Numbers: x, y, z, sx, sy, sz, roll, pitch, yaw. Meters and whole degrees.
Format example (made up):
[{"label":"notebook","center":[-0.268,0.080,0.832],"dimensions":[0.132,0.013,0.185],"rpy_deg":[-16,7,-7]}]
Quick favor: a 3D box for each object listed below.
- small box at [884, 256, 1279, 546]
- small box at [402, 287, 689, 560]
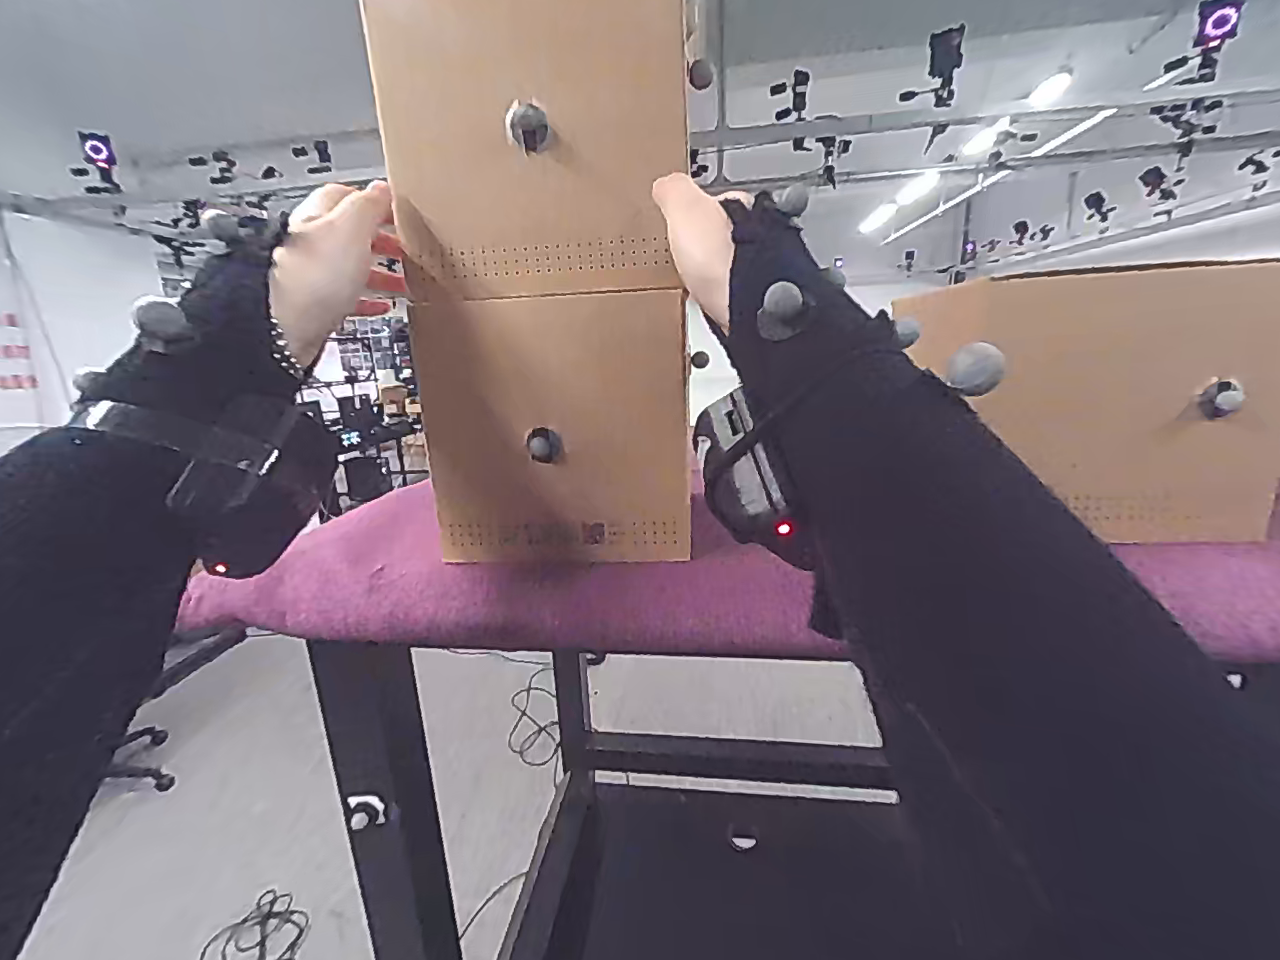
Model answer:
[{"label":"small box","center":[0.294,-0.057,0.394],"dimensions":[0.179,0.176,0.168],"rpy_deg":[-3,14,7]},{"label":"small box","center":[-0.048,-0.046,0.409],"dimensions":[0.168,0.176,0.179],"rpy_deg":[-1,15,6]}]
